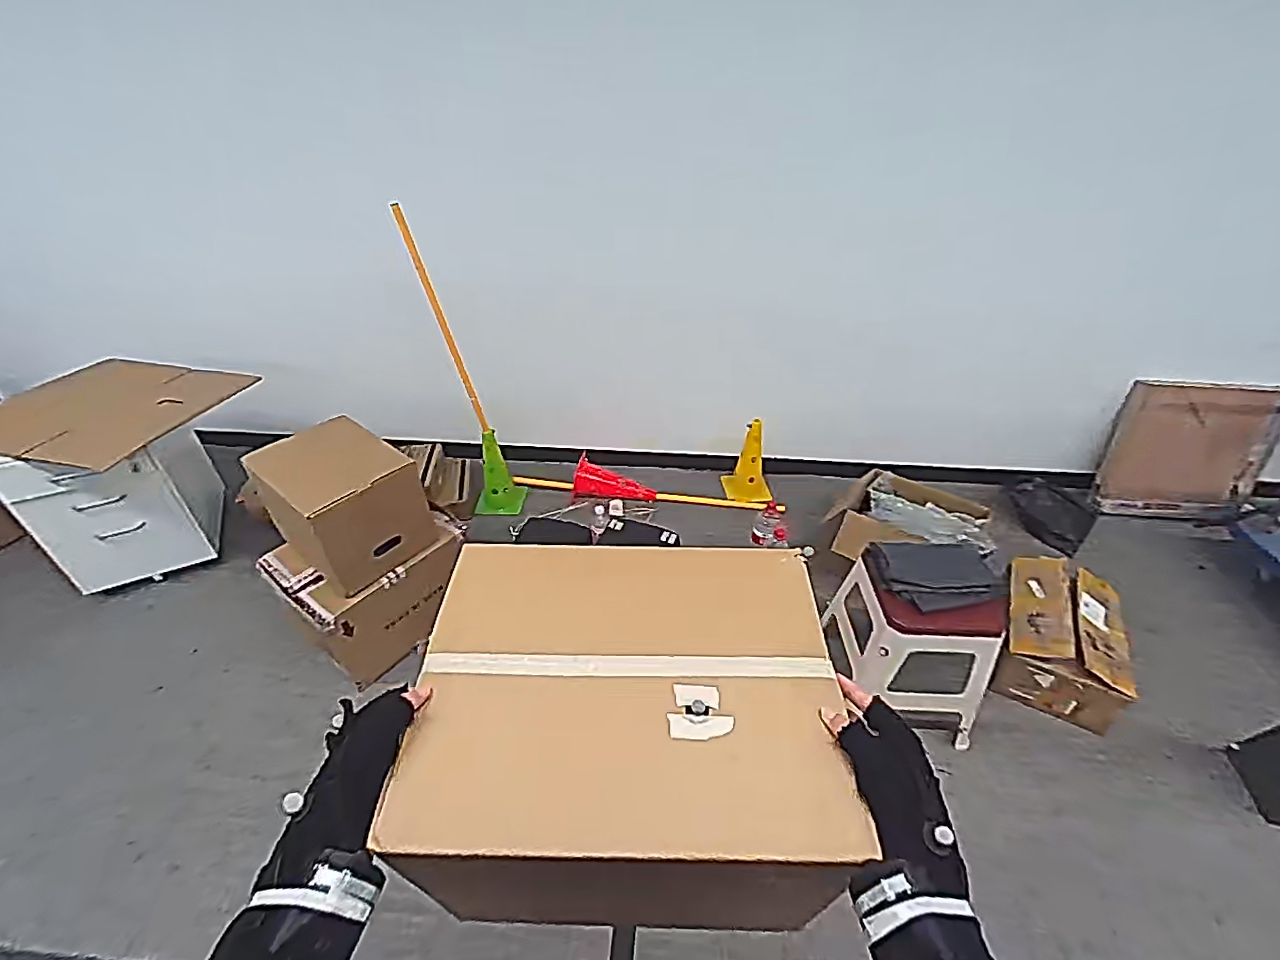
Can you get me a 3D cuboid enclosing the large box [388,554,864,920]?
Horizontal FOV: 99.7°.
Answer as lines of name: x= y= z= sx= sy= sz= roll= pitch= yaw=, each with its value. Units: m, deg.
large box: x=-0.014 y=0.306 z=0.651 sx=0.408 sy=0.320 sz=0.320 roll=1 pitch=43 yaw=0
